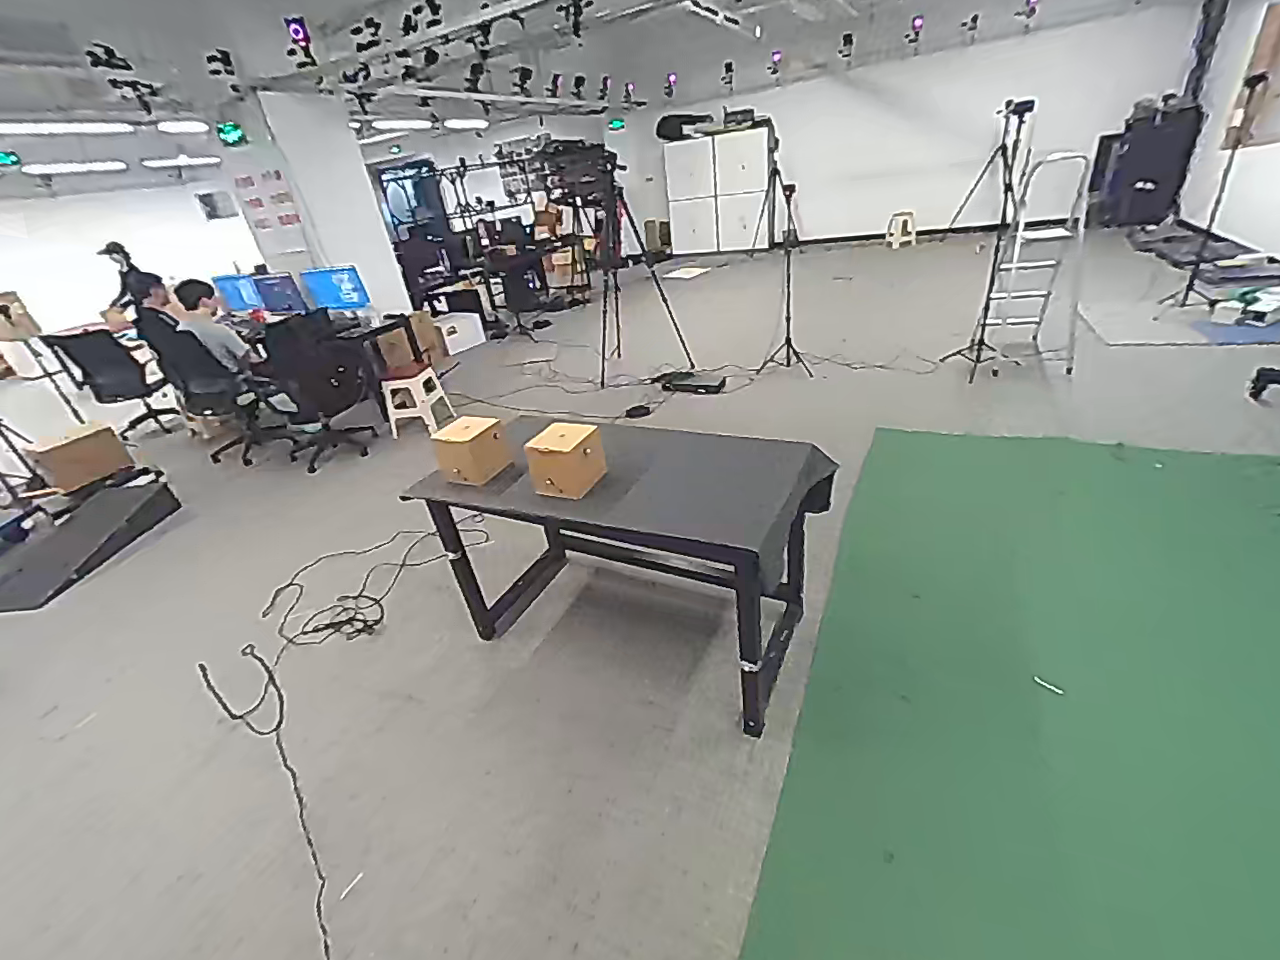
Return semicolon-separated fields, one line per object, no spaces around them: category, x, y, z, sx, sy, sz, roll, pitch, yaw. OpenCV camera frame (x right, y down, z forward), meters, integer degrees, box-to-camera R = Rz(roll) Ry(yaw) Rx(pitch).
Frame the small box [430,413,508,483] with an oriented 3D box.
small box;-0.568;-0.110;1.827;0.168;0.176;0.179;7;33;25

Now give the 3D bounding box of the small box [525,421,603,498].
small box;-0.228;-0.067;1.677;0.168;0.176;0.179;8;34;25
